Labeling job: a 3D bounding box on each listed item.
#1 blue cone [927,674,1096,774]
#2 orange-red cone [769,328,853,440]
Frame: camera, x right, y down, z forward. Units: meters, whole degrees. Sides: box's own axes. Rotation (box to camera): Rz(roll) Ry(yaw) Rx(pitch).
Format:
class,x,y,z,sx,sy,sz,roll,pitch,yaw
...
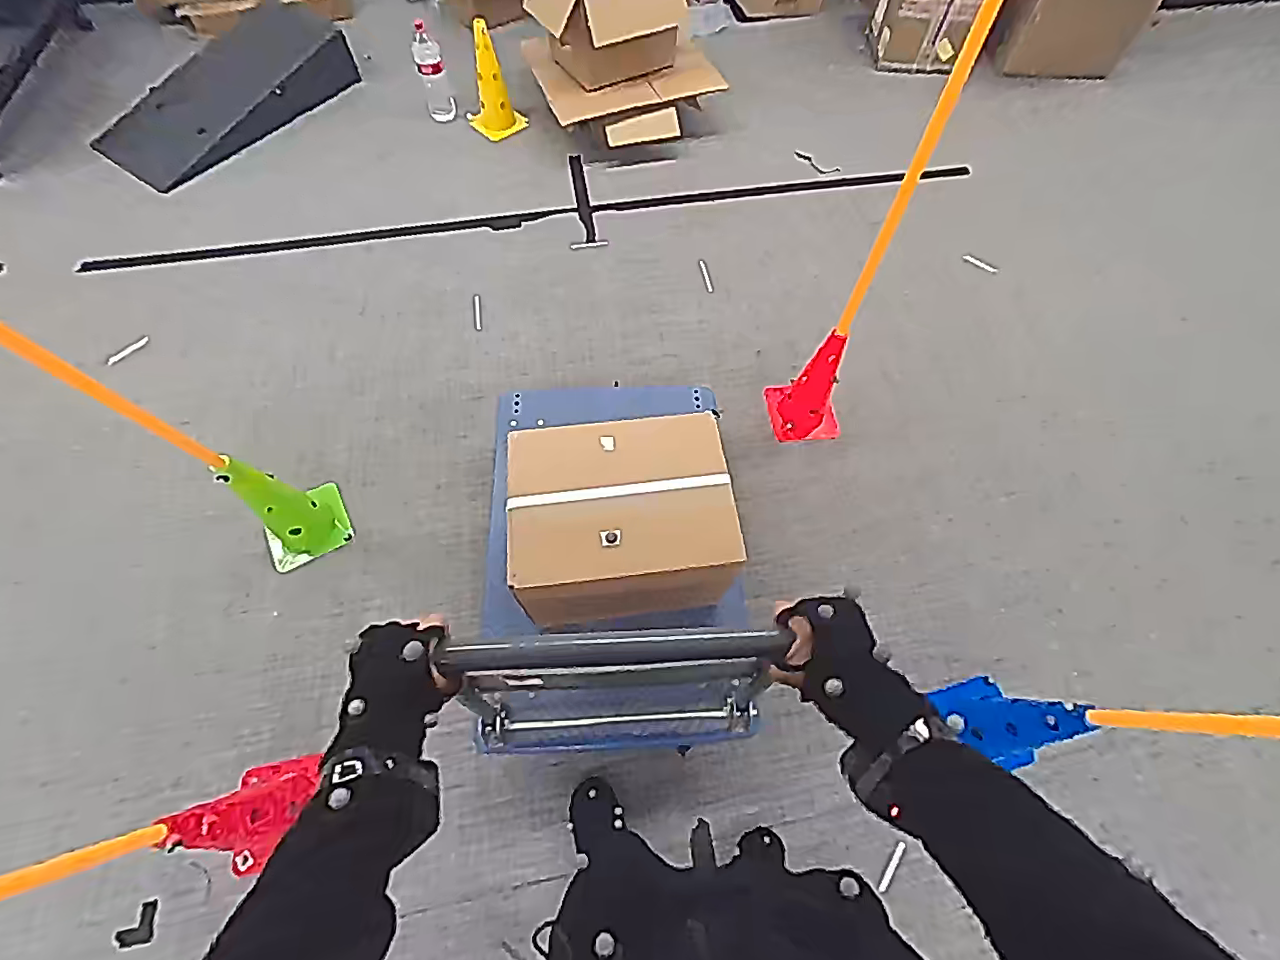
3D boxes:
class,x,y,z,sx,sy,sz,roll,pitch,yaw
blue cone,0.794,0.493,1.121,0.193,0.380,0.192,-12,63,-8
orange-red cone,0.507,-0.286,1.496,0.199,0.360,0.198,-2,64,-4
